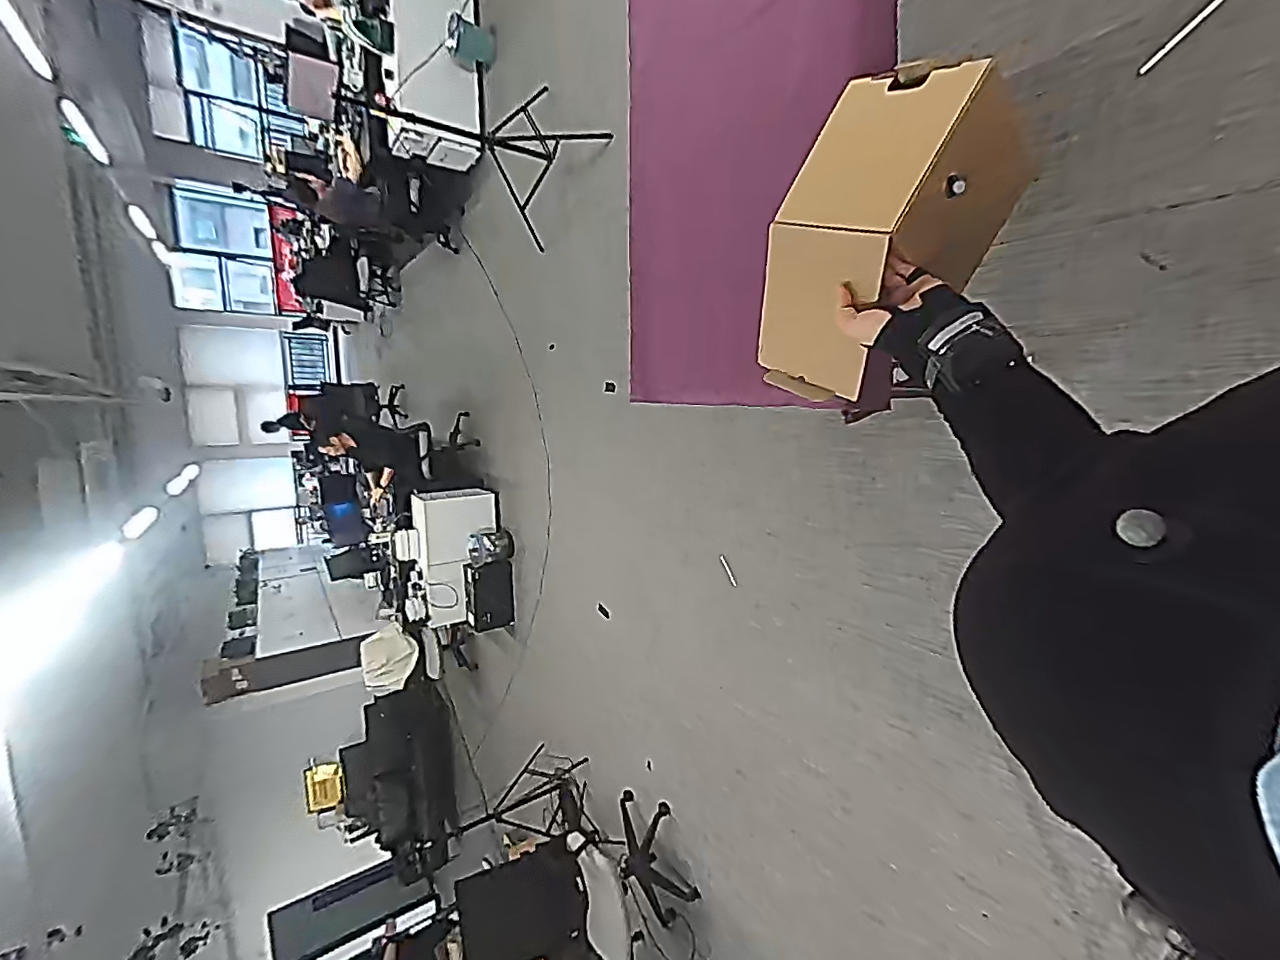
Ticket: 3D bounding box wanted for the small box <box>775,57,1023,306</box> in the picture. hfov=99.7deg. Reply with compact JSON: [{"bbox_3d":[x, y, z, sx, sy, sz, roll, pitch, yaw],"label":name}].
[{"bbox_3d":[0.297,-0.325,0.620,0.168,0.176,0.179,38,102,48],"label":"small box"}]
